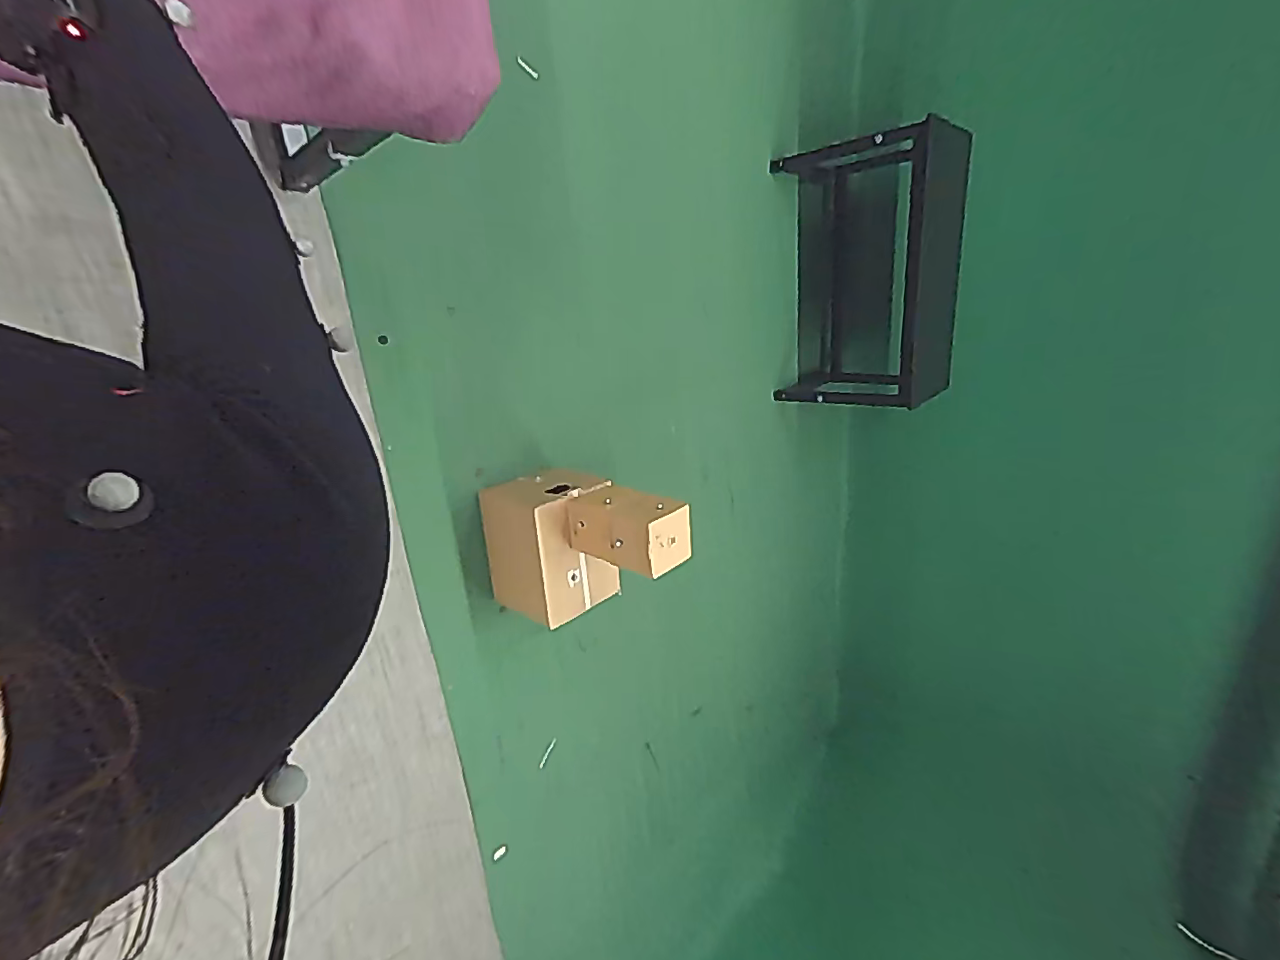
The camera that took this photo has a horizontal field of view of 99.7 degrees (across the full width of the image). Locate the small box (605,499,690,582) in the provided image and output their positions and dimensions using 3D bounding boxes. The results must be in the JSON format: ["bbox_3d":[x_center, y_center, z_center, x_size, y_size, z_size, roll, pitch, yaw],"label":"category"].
[{"bbox_3d":[0.022,0.161,1.529,0.179,0.176,0.168,-22,114,-43],"label":"small box"}]

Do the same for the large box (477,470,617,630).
[{"bbox_3d":[-0.304,0.212,1.794,0.320,0.320,0.408,-20,114,-43],"label":"large box"}]

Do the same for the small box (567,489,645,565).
[{"bbox_3d":[-0.099,0.134,1.638,0.179,0.176,0.168,-20,114,-44],"label":"small box"}]
